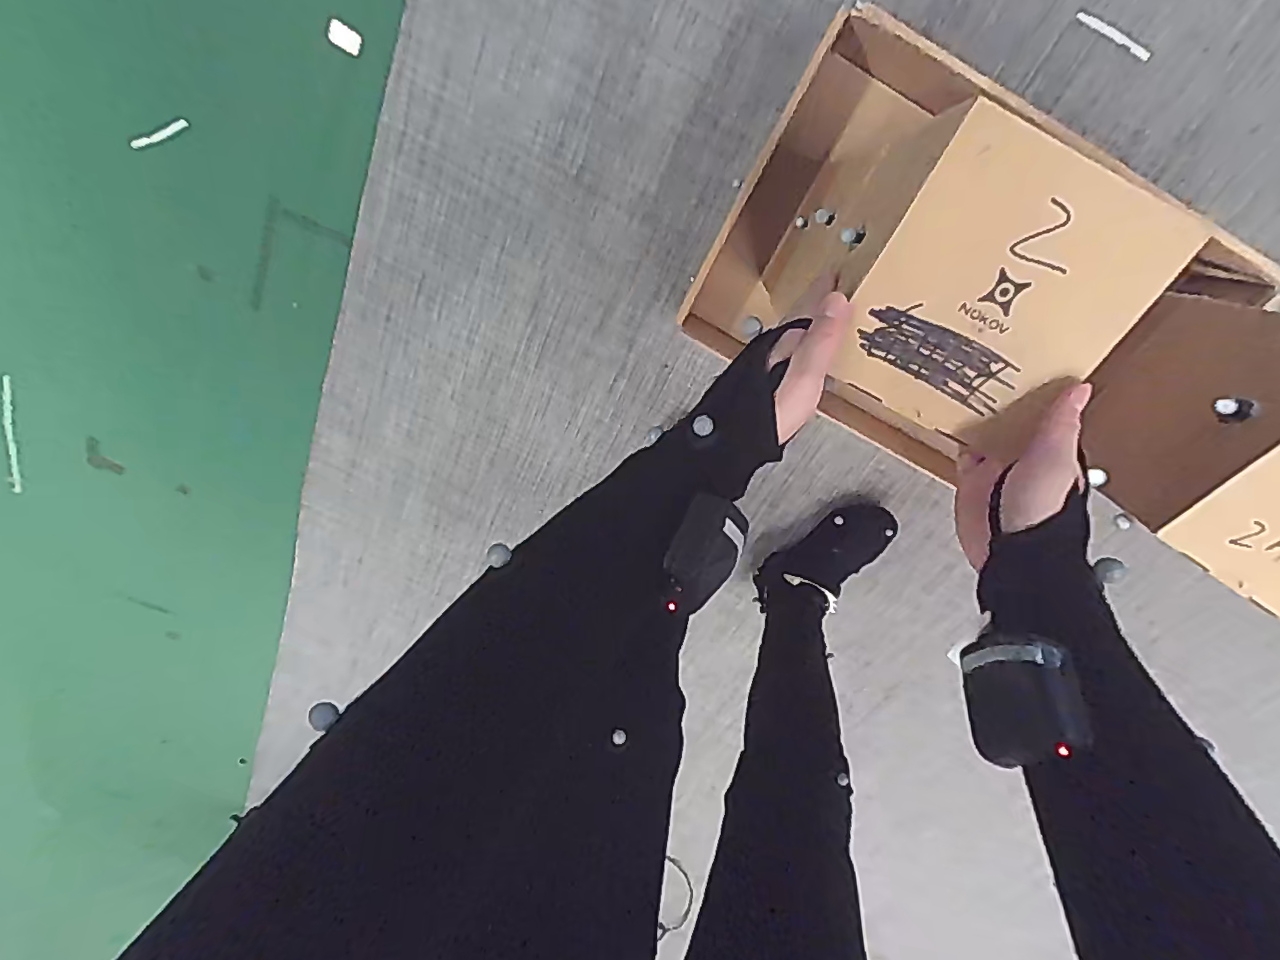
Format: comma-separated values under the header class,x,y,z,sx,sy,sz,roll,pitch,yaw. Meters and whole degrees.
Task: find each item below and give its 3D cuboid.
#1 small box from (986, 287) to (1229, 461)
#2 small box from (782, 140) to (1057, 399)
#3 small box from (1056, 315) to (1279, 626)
class,x,y,z,sx,sy,sz,roll,pitch,yaw
small box,0.534,-0.088,0.594,0.168,0.176,0.179,31,117,-8
small box,0.264,-0.216,0.567,0.168,0.176,0.179,26,116,-3
small box,0.511,-0.013,0.448,0.168,0.176,0.179,32,117,-7
